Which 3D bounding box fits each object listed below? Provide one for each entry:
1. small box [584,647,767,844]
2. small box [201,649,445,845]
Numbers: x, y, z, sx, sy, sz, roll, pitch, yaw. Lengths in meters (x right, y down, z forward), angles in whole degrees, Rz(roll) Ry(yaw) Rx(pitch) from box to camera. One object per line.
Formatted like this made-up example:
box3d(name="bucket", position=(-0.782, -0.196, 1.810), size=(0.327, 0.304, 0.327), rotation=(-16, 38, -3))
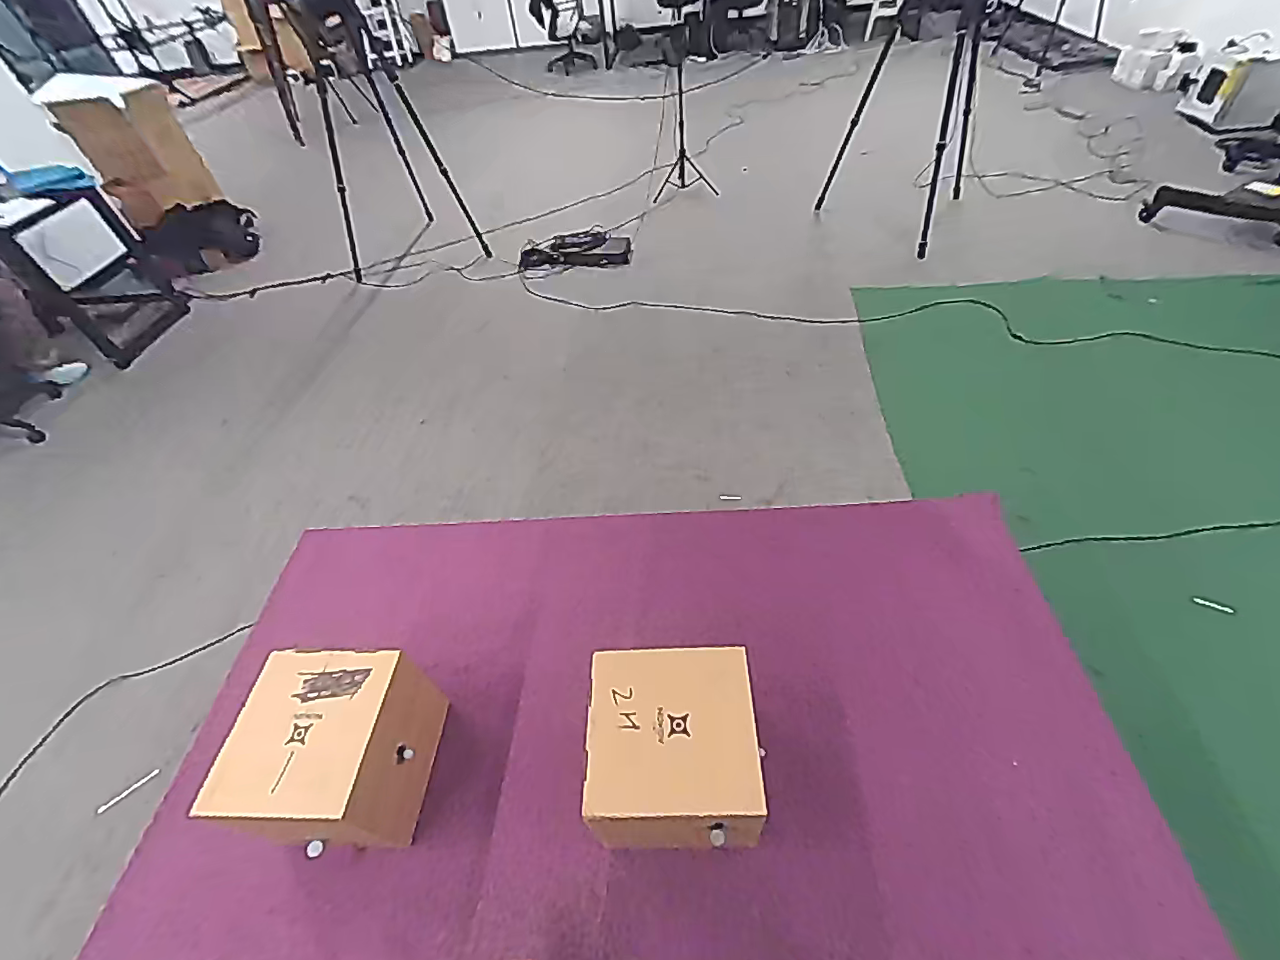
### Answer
box3d(name="small box", position=(0.040, 0.306, 0.622), size=(0.179, 0.176, 0.168), rotation=(-3, 47, 4))
box3d(name="small box", position=(-0.358, 0.324, 0.657), size=(0.168, 0.176, 0.179), rotation=(-2, 49, 6))
